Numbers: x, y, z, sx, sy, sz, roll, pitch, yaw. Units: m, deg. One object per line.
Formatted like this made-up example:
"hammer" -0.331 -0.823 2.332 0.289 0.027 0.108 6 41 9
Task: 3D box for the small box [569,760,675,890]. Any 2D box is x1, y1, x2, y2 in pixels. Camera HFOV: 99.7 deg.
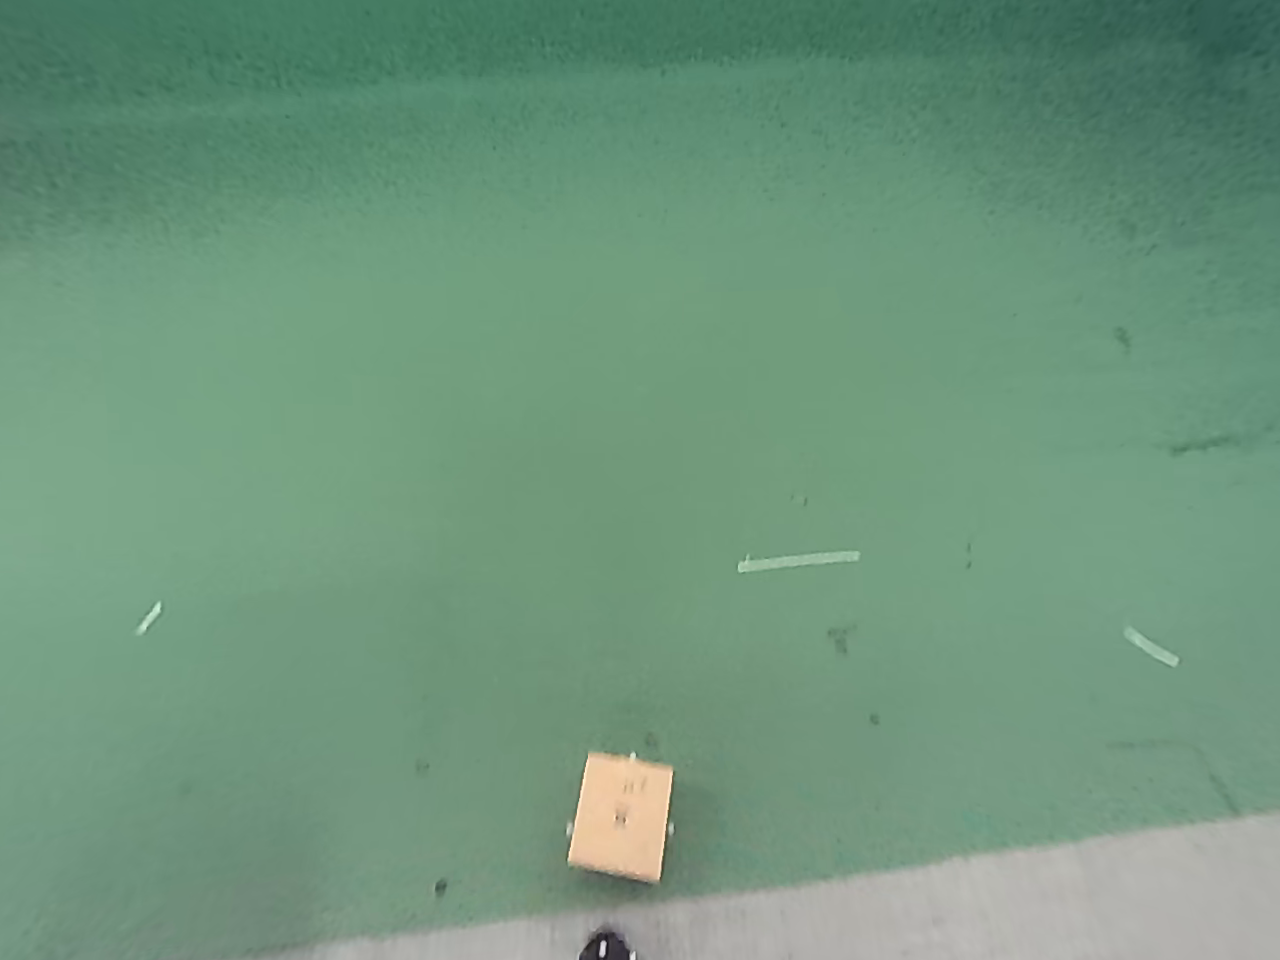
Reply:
"small box" -0.028 0.652 1.036 0.168 0.176 0.179 9 60 4
